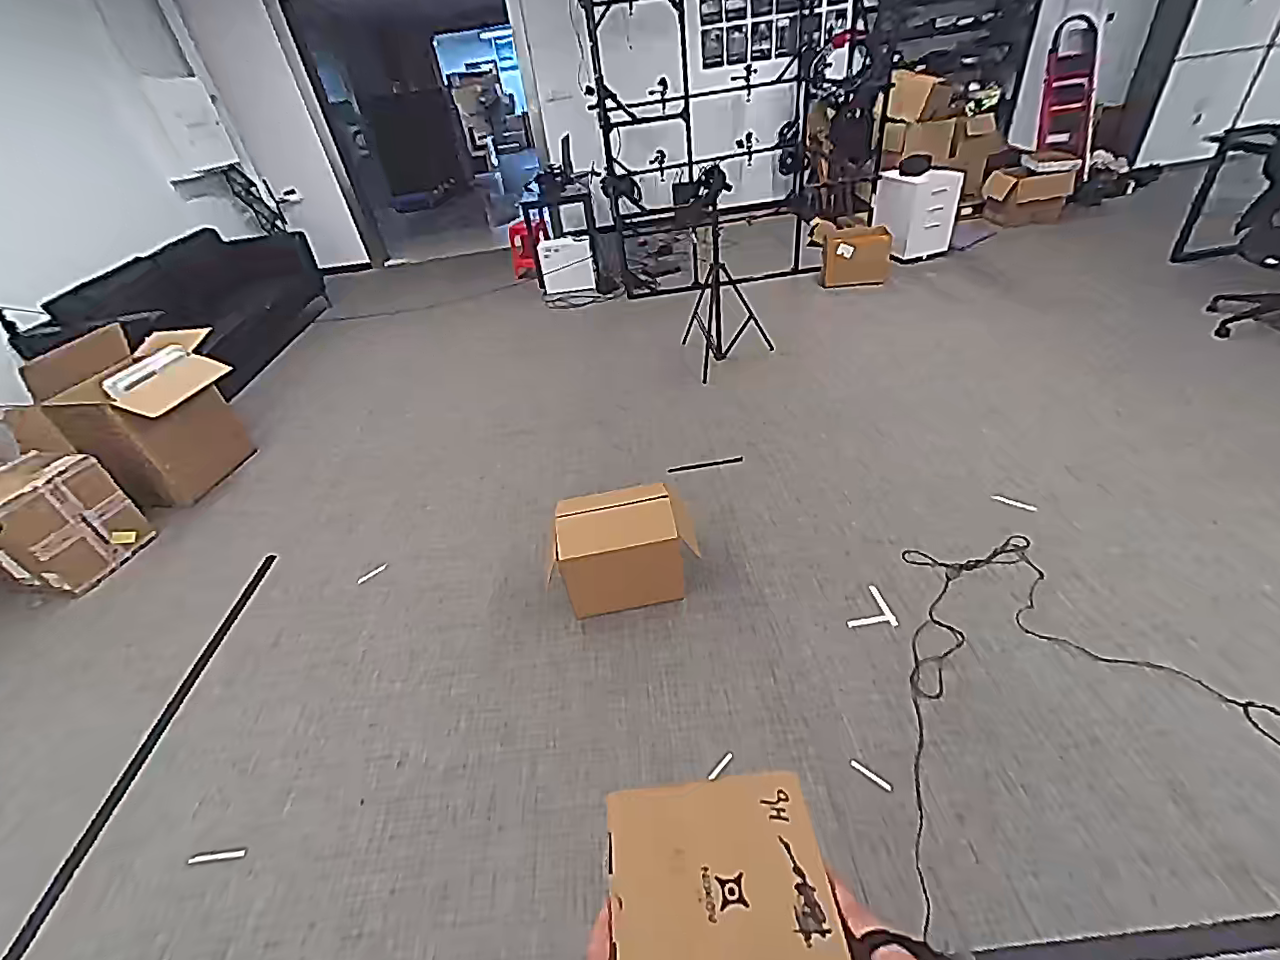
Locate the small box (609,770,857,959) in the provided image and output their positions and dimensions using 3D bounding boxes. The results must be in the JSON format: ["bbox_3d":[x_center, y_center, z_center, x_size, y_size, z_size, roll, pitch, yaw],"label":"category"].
[{"bbox_3d":[0.071,0.381,0.475,0.179,0.176,0.168,-6,42,-2],"label":"small box"}]
